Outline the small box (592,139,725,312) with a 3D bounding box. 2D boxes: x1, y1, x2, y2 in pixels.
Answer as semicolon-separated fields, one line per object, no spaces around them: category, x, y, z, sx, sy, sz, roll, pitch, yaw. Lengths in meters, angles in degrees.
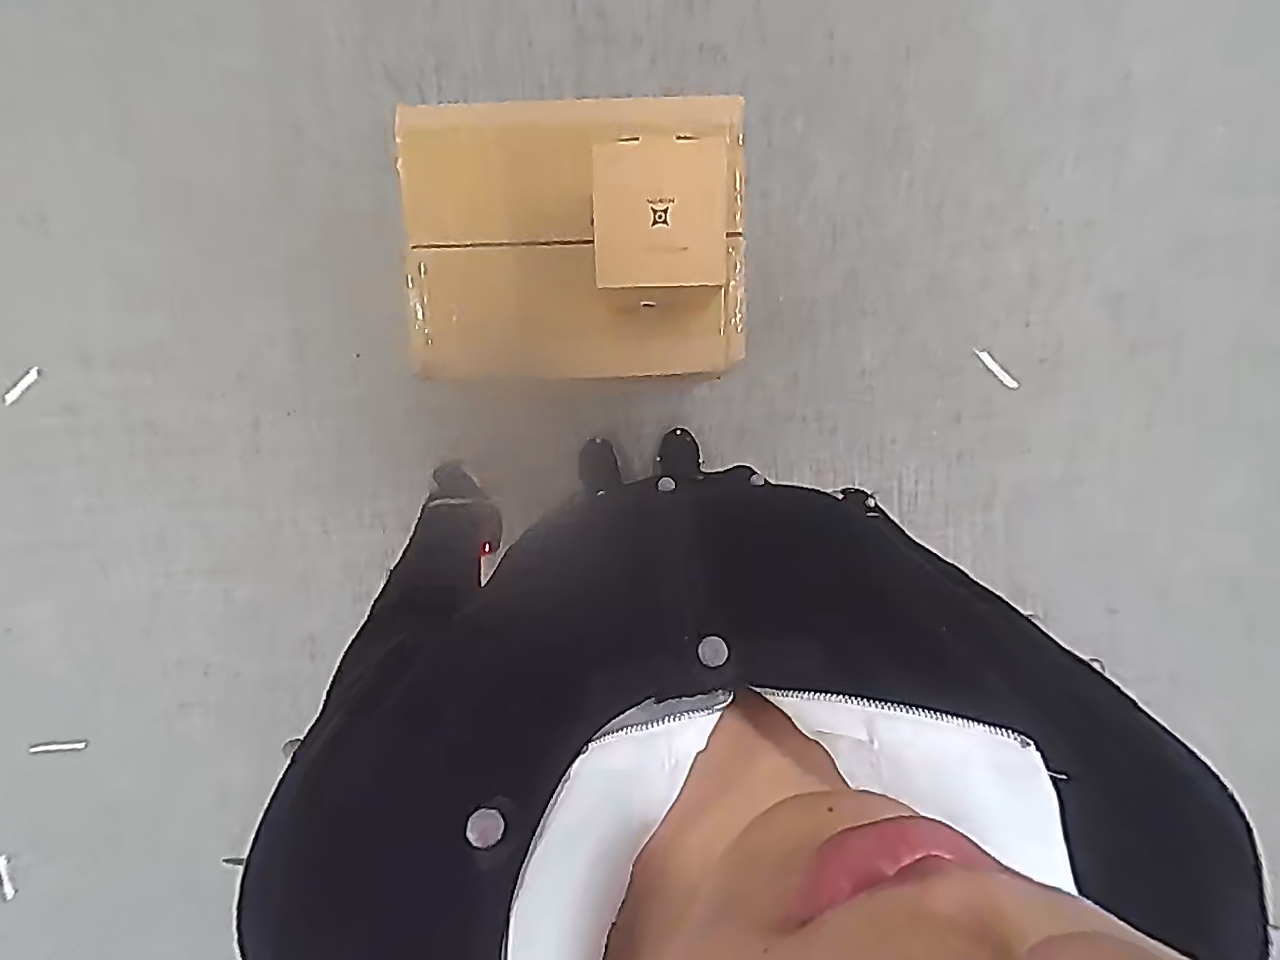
small box;0.023;-0.340;0.750;0.168;0.176;0.179;-2;99;1
